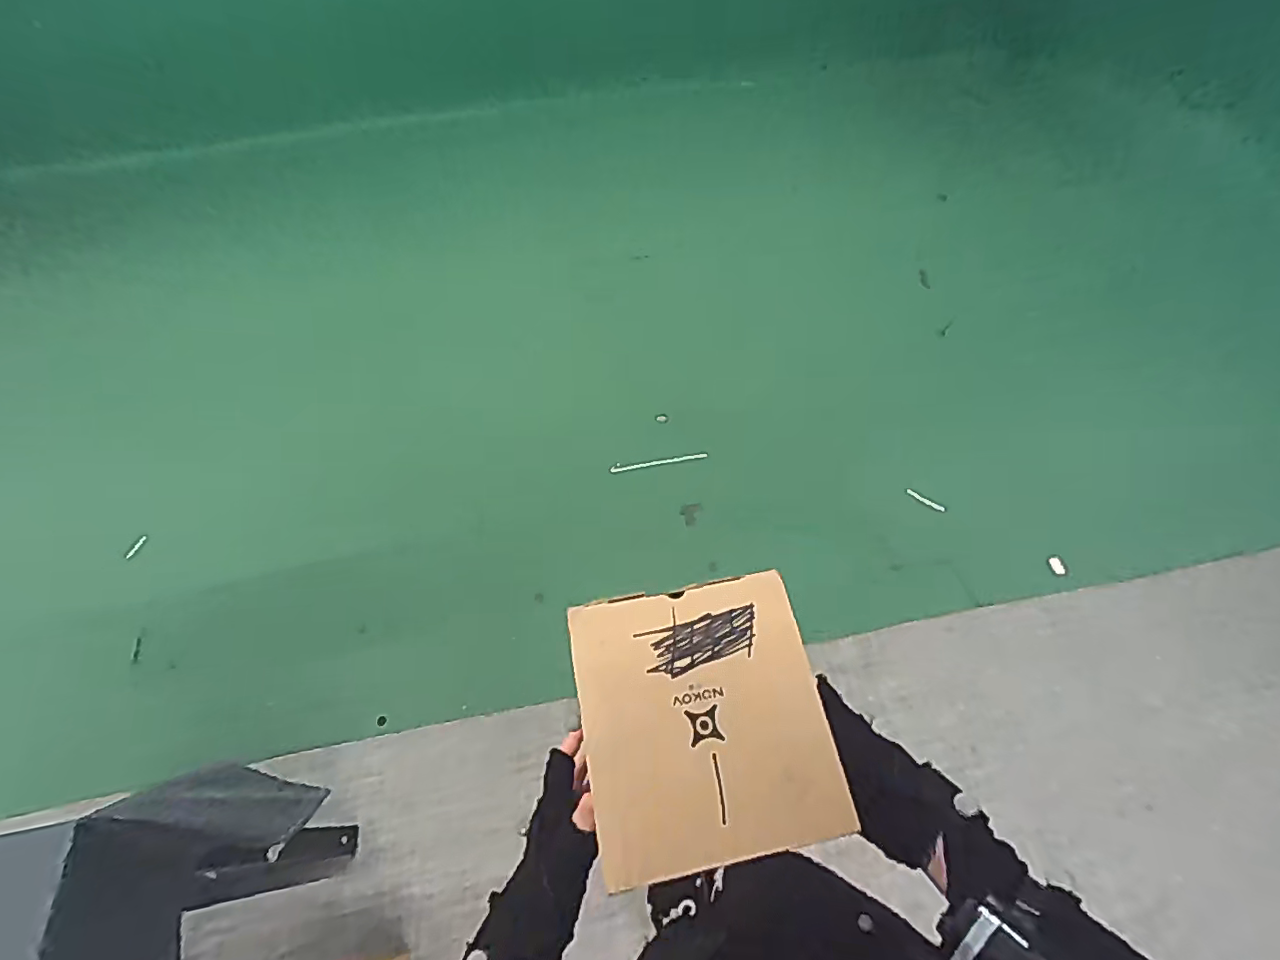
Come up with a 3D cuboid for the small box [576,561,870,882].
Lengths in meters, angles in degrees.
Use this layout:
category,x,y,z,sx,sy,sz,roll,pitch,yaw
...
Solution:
category,x,y,z,sx,sy,sz,roll,pitch,yaw
small box,0.043,0.186,0.431,0.168,0.176,0.179,-9,63,-7
